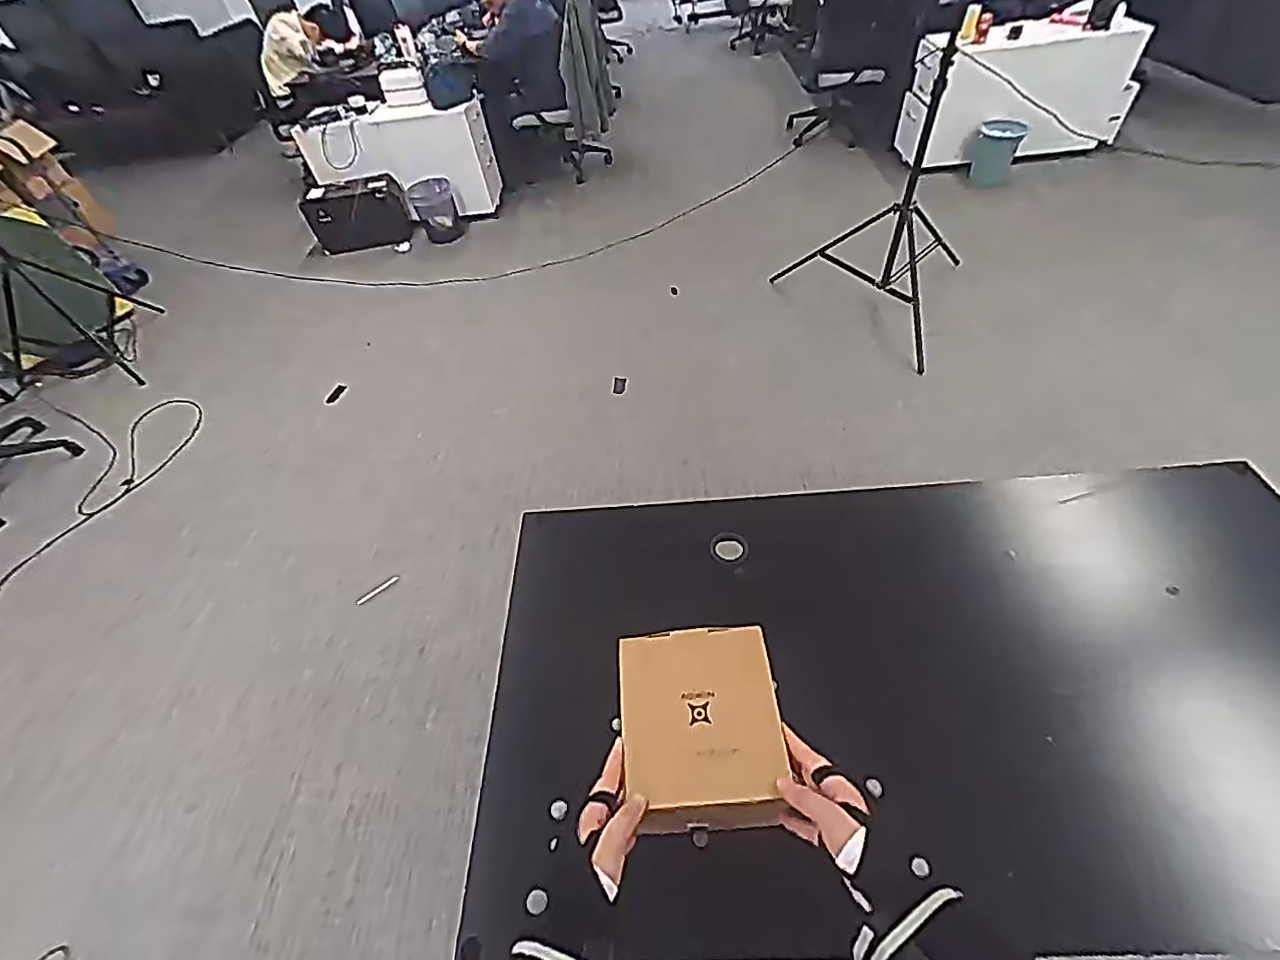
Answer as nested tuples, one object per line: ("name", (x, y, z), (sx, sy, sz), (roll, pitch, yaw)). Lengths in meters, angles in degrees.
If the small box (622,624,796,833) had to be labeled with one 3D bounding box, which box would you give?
("small box", (0.071, 0.290, 0.628), (0.168, 0.176, 0.179), (-7, 50, 3))
